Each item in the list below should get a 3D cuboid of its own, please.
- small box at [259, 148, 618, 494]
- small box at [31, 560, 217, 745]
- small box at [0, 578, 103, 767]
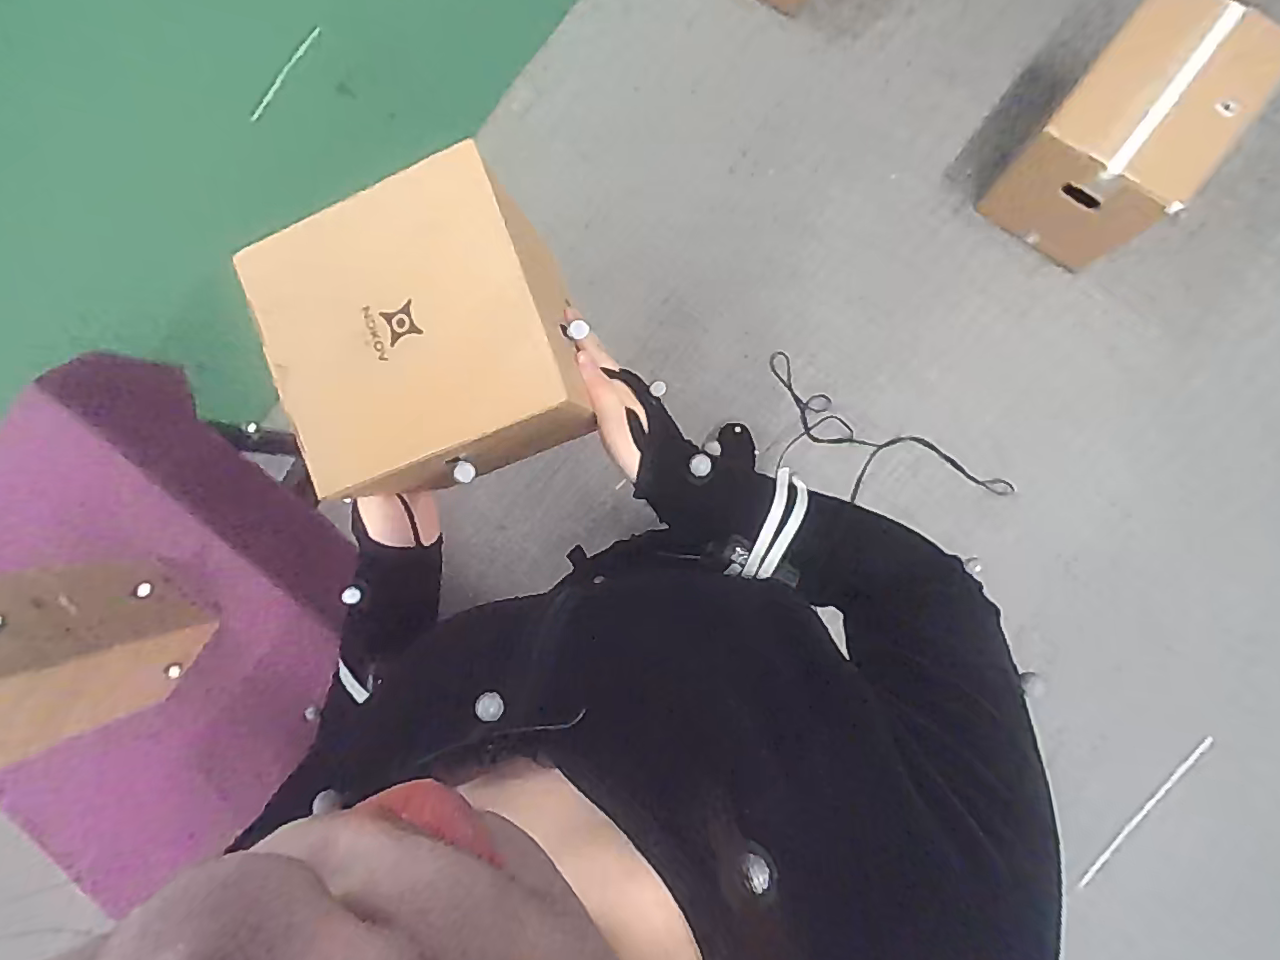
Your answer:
[{"bbox_3d":[-0.125,-0.099,0.410,0.179,0.176,0.168,-19,90,9],"label":"small box"},{"bbox_3d":[-0.784,0.237,0.799,0.168,0.176,0.179,38,93,7],"label":"small box"},{"bbox_3d":[-0.802,0.237,0.634,0.168,0.176,0.179,37,94,7],"label":"small box"}]
